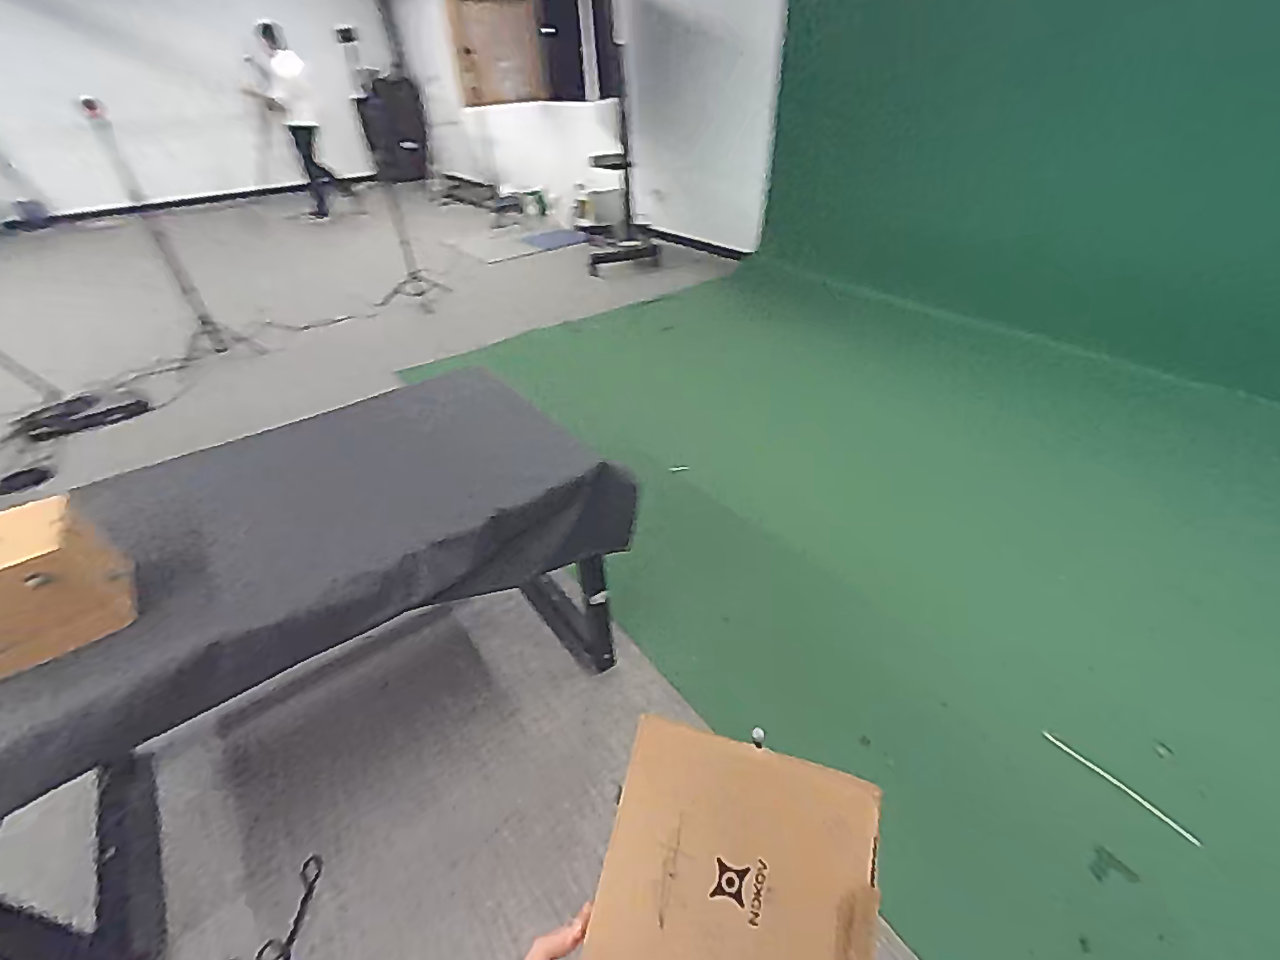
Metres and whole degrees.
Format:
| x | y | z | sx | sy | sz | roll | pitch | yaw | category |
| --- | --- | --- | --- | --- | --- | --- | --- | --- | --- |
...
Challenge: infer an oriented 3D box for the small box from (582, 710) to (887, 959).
| x | y | z | sx | sy | sz | roll | pitch | yaw | category |
| --- | --- | --- | --- | --- | --- | --- | --- | --- | --- |
| 0.069 | 0.290 | 0.426 | 0.179 | 0.176 | 0.168 | 13 | 66 | 8 | small box |

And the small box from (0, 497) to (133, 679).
| x | y | z | sx | sy | sz | roll | pitch | yaw | category |
| --- | --- | --- | --- | --- | --- | --- | --- | --- | --- |
| -0.901 | 0.160 | 0.794 | 0.179 | 0.176 | 0.168 | -27 | 43 | -29 | small box |
